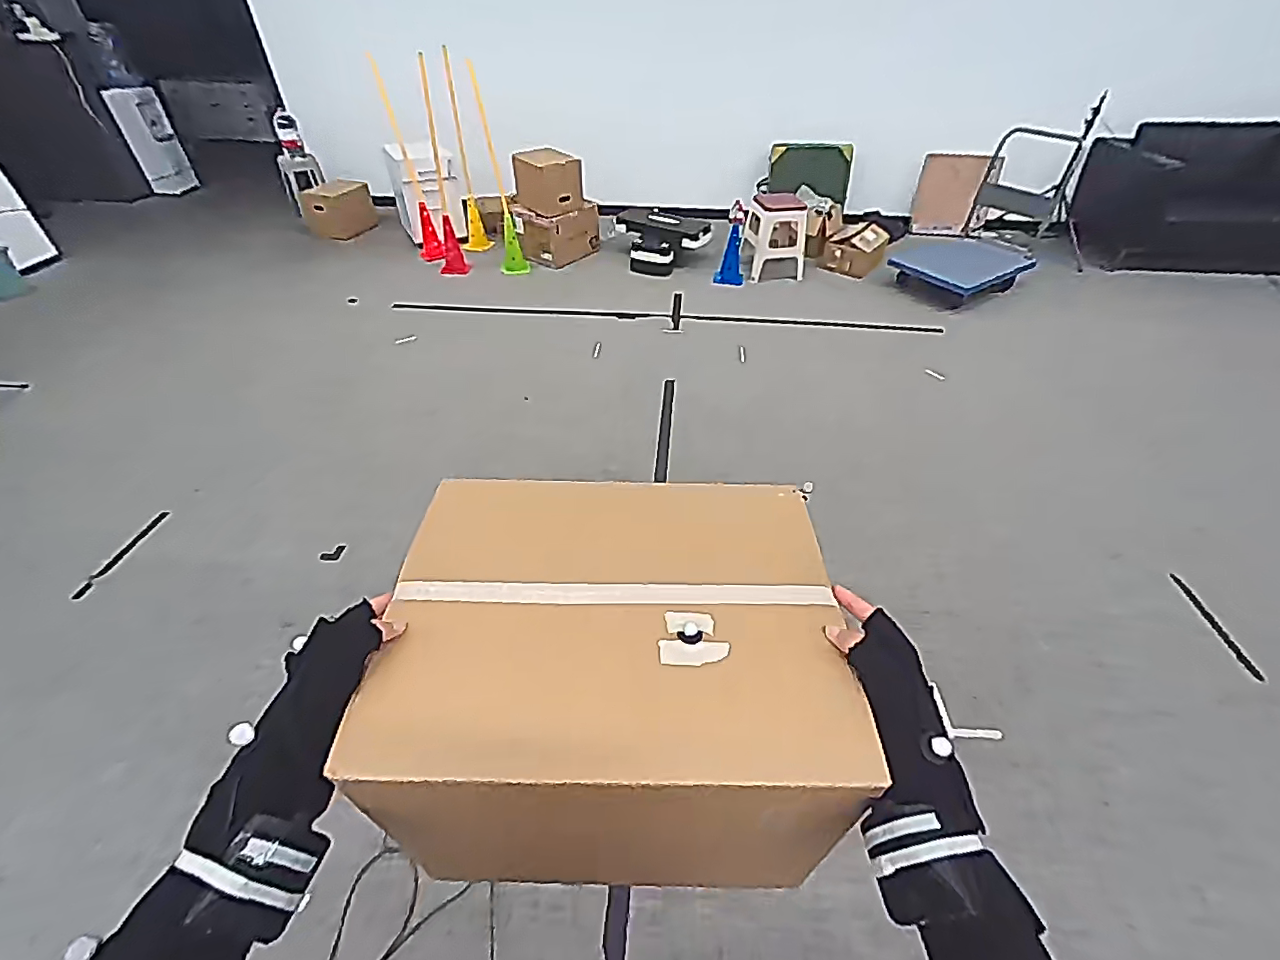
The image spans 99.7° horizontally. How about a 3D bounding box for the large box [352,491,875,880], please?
[{"bbox_3d":[-0.023,0.228,0.612,0.408,0.320,0.320,1,42,0],"label":"large box"}]
